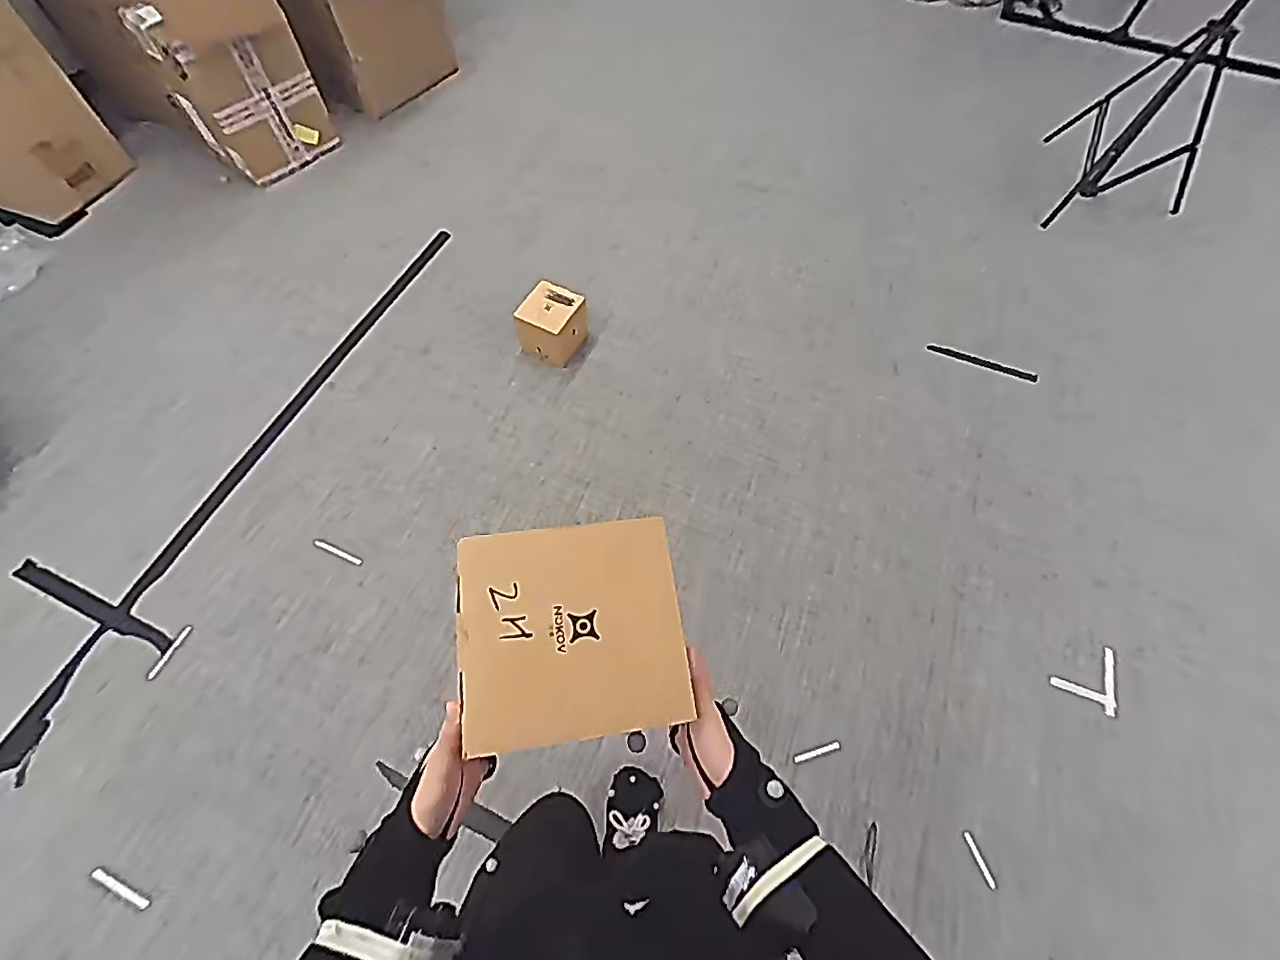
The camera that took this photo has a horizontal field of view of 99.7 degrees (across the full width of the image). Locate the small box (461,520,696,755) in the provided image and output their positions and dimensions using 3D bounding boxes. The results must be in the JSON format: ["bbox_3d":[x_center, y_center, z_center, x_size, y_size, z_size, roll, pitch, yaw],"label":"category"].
[{"bbox_3d":[-0.060,0.144,0.502,0.179,0.176,0.168,-5,69,-8],"label":"small box"}]
